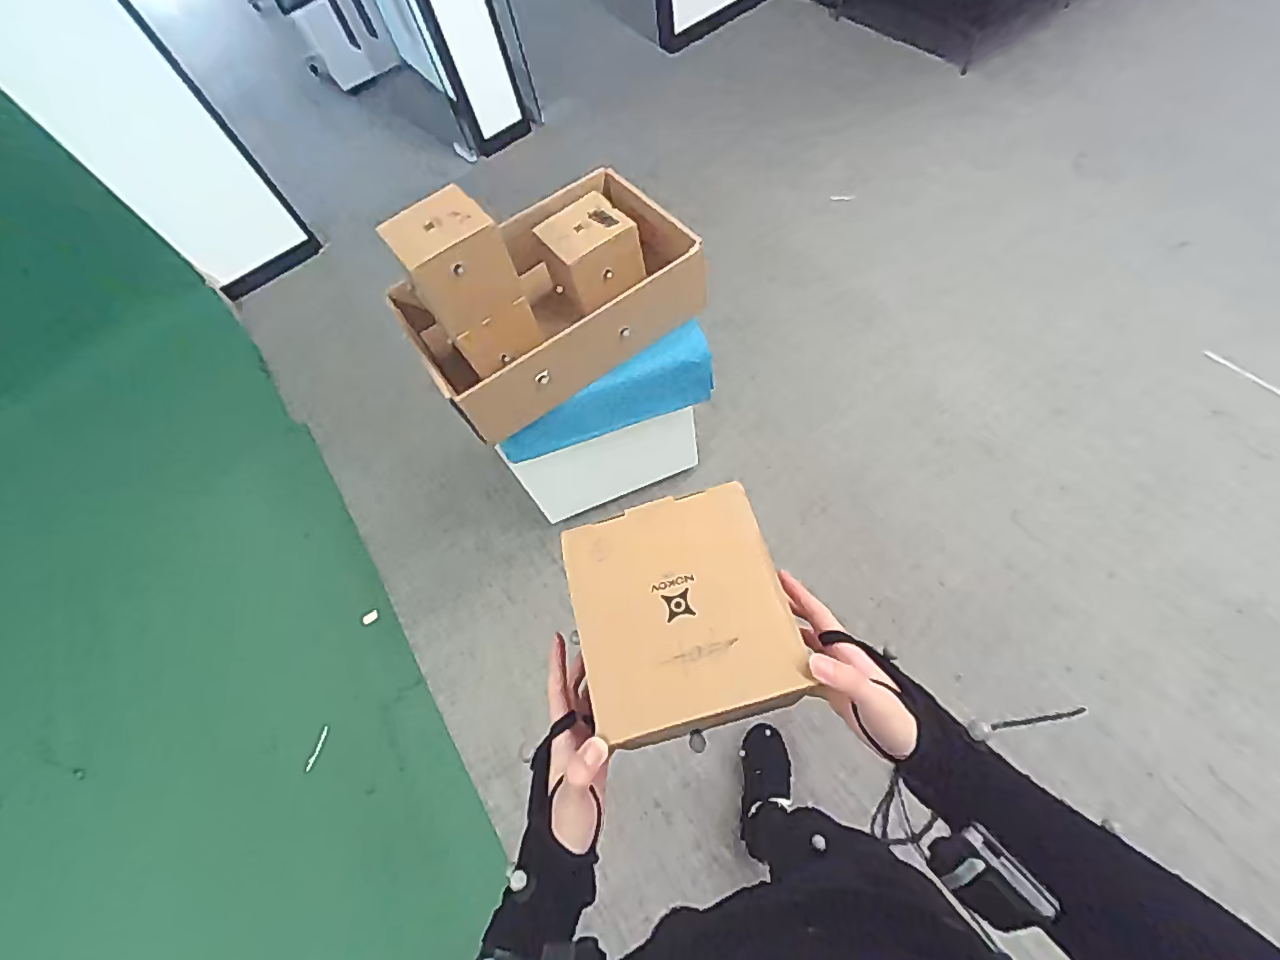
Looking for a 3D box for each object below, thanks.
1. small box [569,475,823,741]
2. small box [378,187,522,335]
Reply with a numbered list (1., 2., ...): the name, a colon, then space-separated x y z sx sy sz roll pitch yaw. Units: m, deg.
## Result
1. small box: 0.045 0.125 0.496 0.168 0.176 0.179 -16 61 1
2. small box: -0.357 -0.414 1.041 0.179 0.176 0.168 -36 62 -11
